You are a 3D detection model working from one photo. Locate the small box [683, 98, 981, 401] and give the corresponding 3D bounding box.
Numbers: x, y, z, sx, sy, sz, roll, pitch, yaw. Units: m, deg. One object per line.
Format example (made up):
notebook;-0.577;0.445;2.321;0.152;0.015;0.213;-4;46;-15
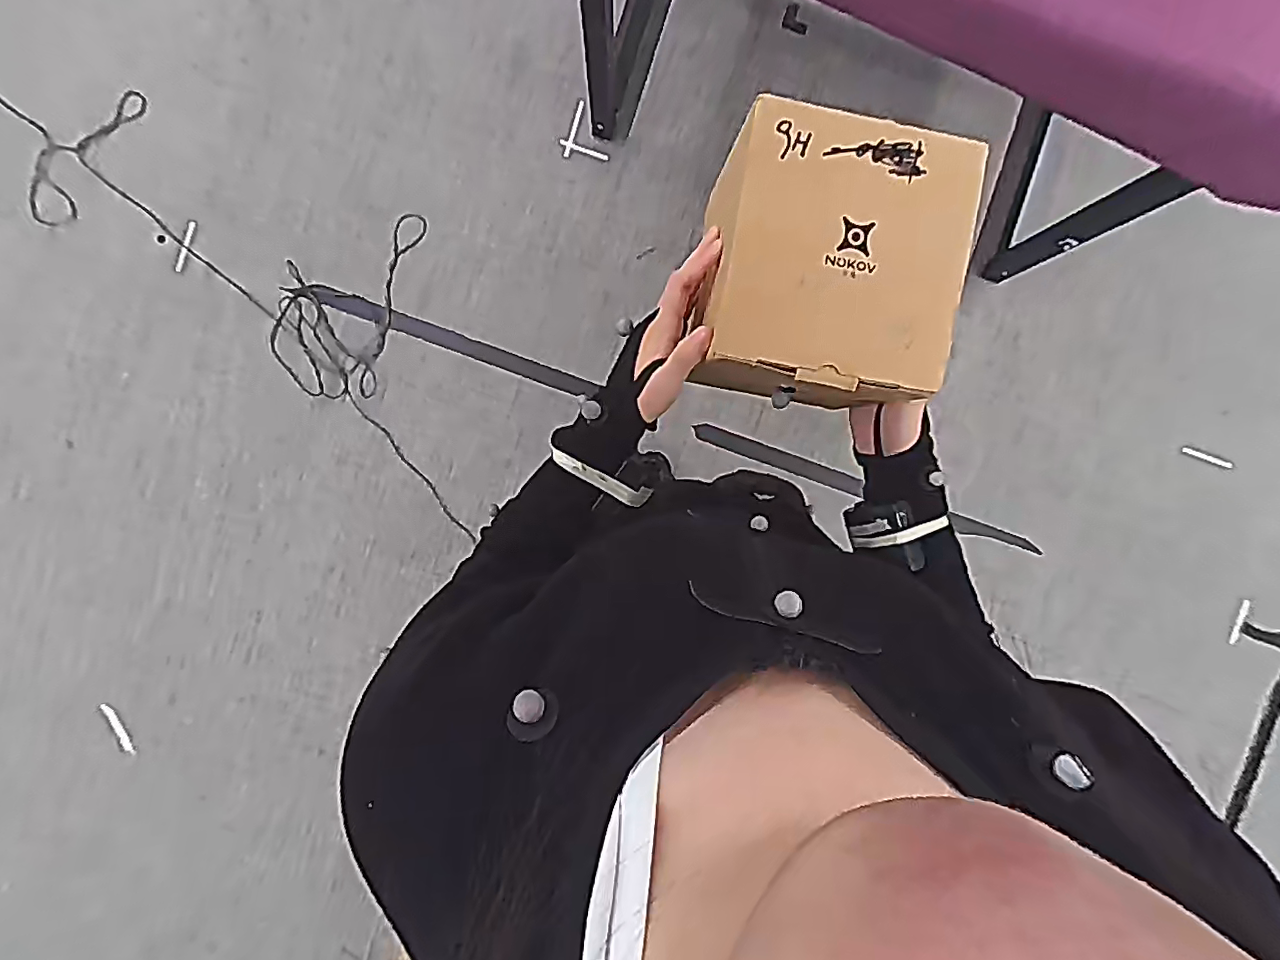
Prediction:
small box;0.137;-0.166;0.454;0.168;0.176;0.179;9;94;-5
